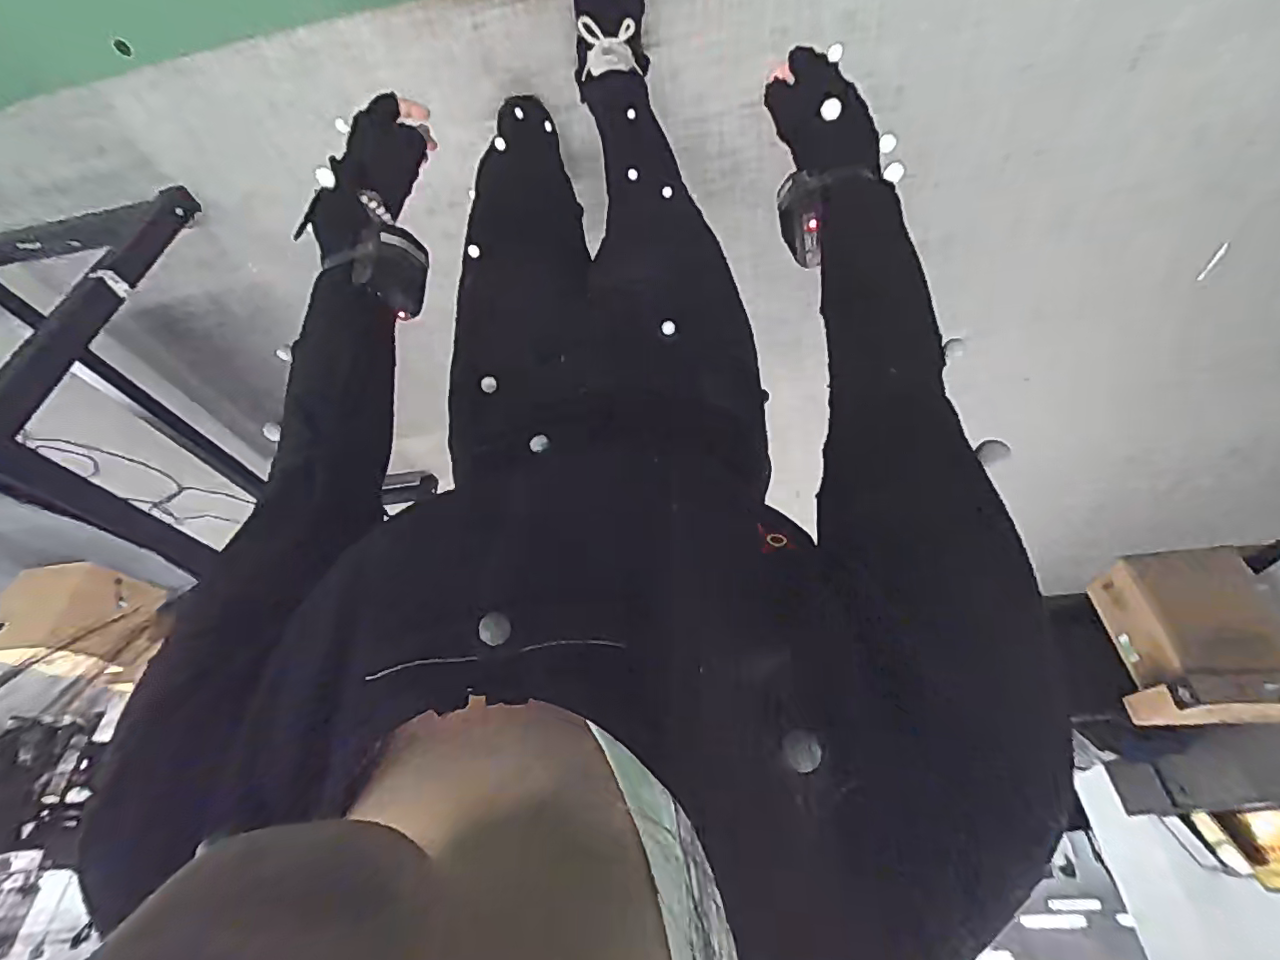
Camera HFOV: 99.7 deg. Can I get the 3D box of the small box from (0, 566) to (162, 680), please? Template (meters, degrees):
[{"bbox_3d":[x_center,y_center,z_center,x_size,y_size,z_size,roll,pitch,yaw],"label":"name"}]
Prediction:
[{"bbox_3d":[-1.112,0.282,1.062,0.179,0.176,0.168,-8,146,9],"label":"small box"}]
